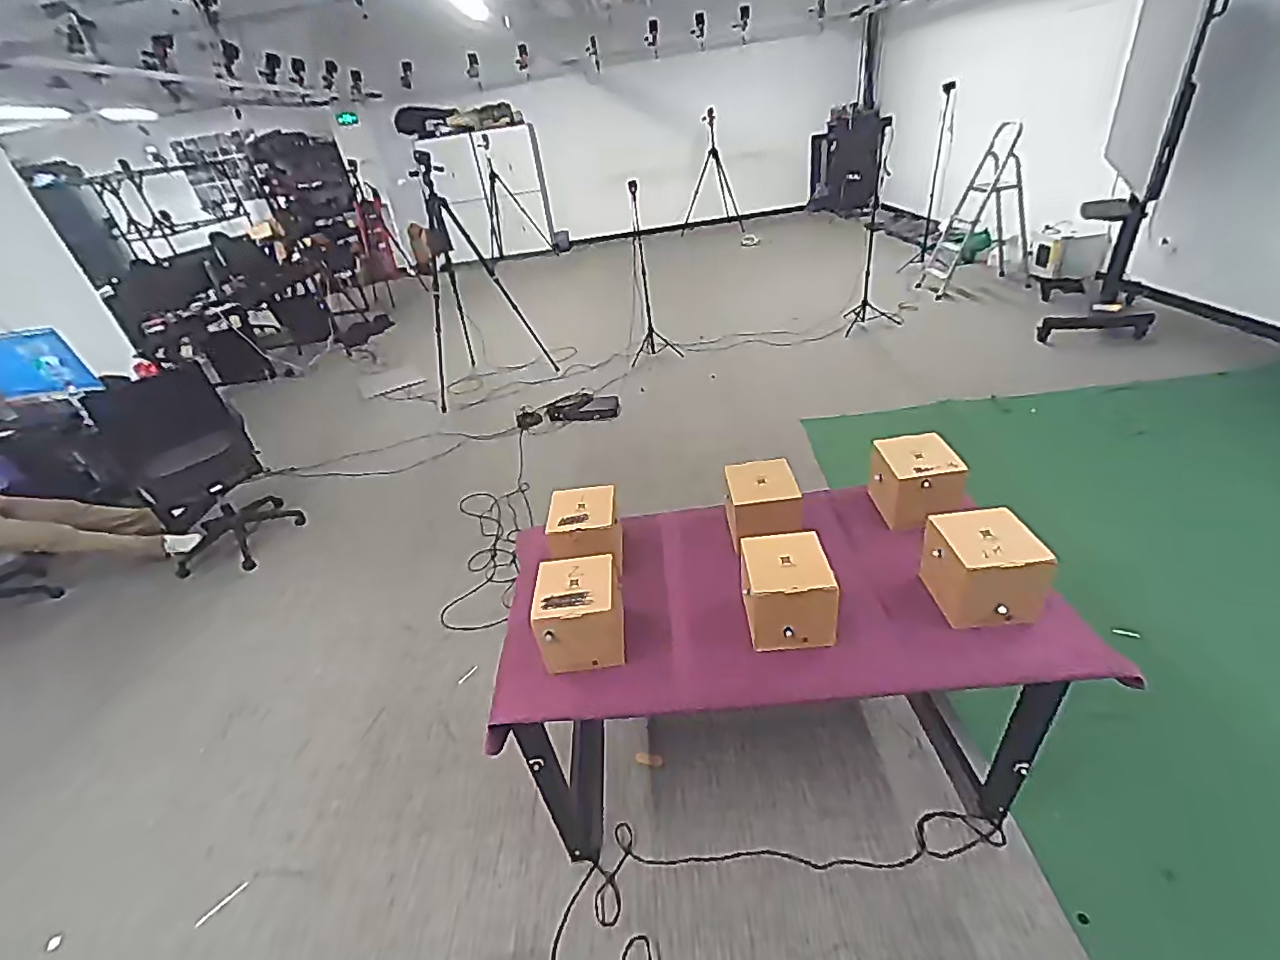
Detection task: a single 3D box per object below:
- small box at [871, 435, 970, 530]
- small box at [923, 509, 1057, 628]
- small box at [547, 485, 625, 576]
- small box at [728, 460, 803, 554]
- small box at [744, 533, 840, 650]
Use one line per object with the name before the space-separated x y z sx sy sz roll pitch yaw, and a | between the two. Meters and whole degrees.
small box | 0.713 0.006 1.399 0.168 0.176 0.179 -8 35 5
small box | 0.716 0.184 1.131 0.168 0.176 0.179 -7 32 6
small box | -0.133 0.137 1.409 0.168 0.176 0.179 -6 34 4
small box | 0.320 0.069 1.407 0.168 0.176 0.179 -7 35 5
small box | 0.316 0.237 1.157 0.168 0.176 0.179 -6 33 4
